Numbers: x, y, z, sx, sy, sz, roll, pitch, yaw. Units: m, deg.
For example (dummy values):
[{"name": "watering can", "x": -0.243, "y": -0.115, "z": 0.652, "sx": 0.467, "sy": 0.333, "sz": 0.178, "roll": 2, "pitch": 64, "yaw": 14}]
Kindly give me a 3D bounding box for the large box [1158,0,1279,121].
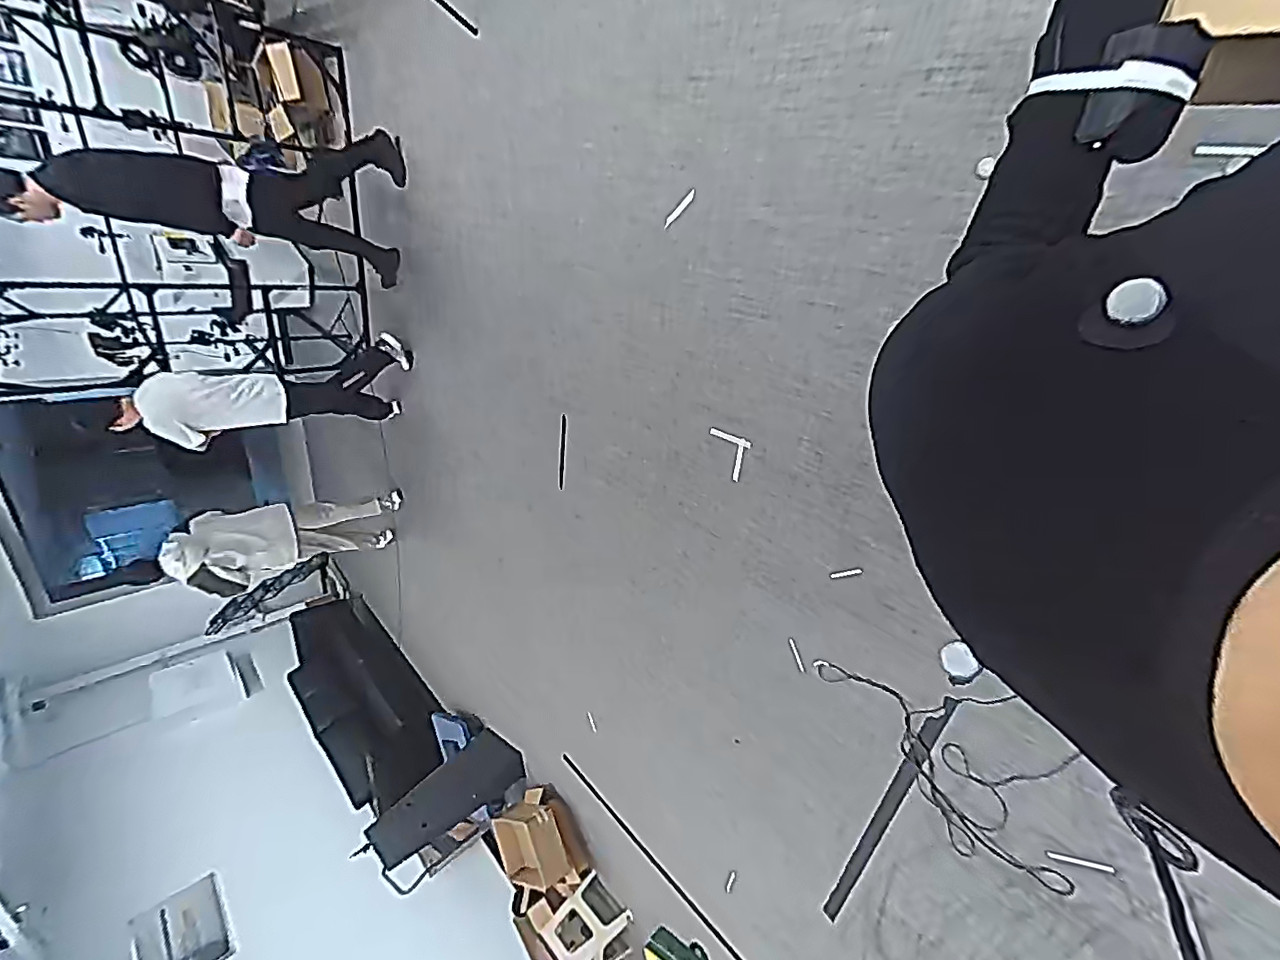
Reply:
[{"name": "large box", "x": 0.587, "y": -0.390, "z": 0.272, "sx": 0.408, "sy": 0.320, "sz": 0.320, "roll": 25, "pitch": 126, "yaw": 34}]
